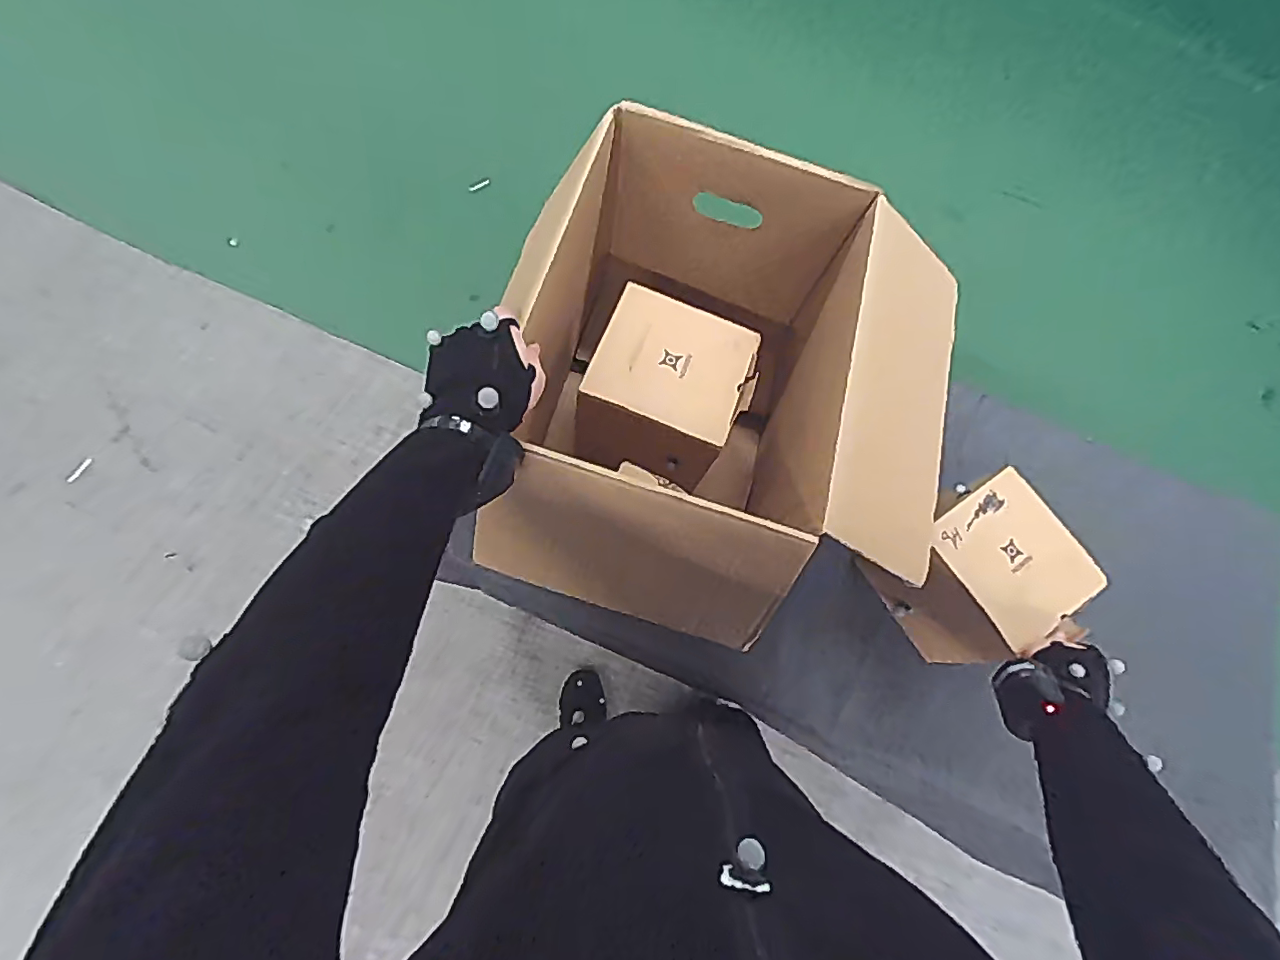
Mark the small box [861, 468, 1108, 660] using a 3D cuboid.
[{"bbox_3d":[0.436,0.114,0.715,0.168,0.176,0.179,-29,79,-13],"label":"small box"}]
